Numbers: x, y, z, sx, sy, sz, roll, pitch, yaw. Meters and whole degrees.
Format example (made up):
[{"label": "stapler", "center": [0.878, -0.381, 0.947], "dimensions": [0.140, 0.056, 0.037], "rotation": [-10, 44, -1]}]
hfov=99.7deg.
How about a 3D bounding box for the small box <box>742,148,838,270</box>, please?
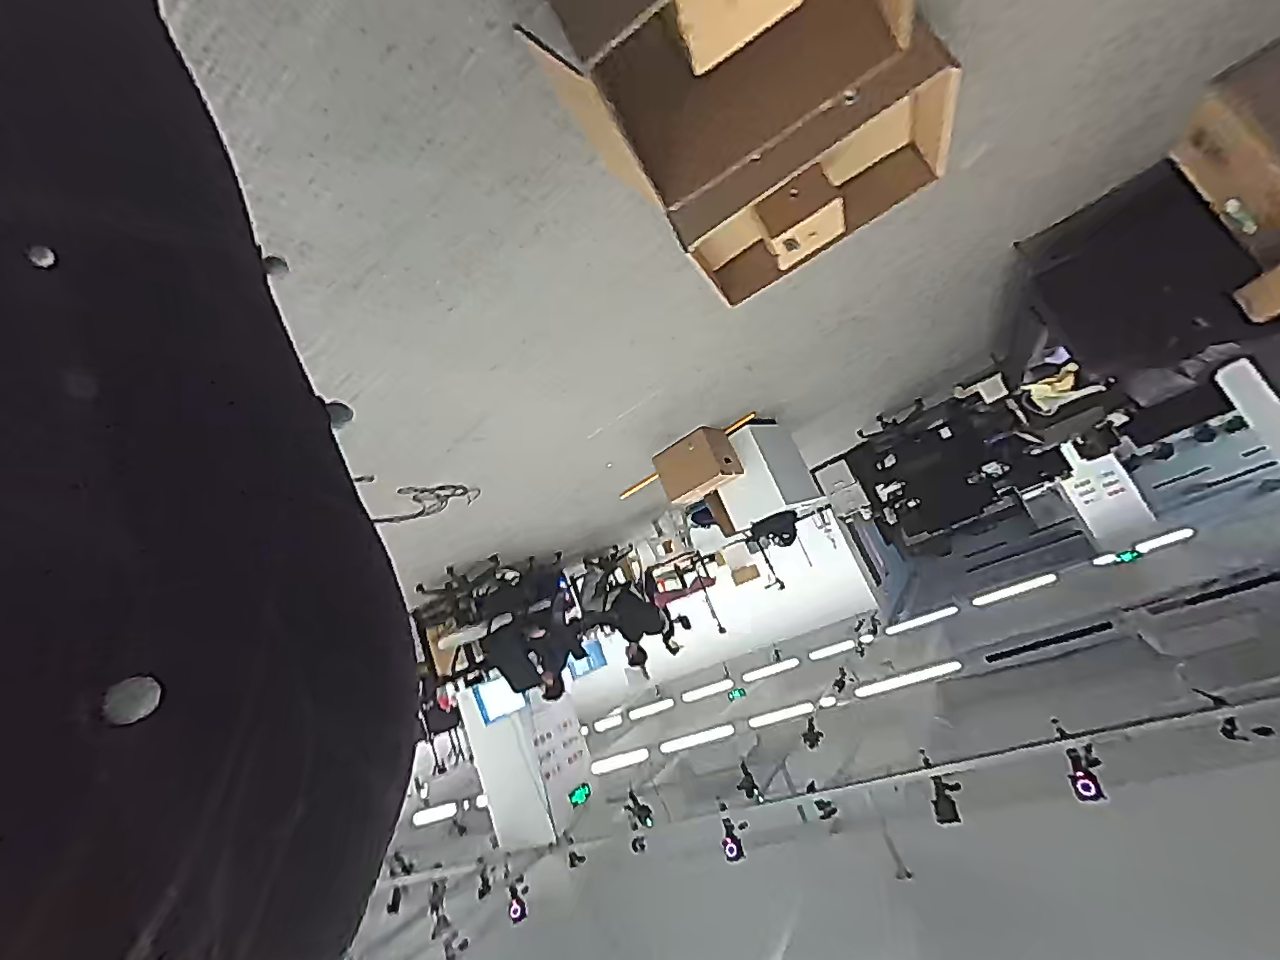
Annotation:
[{"label": "small box", "center": [0.371, -0.672, 1.350], "dimensions": [0.179, 0.176, 0.168], "rotation": [-30, 165, 18]}]
